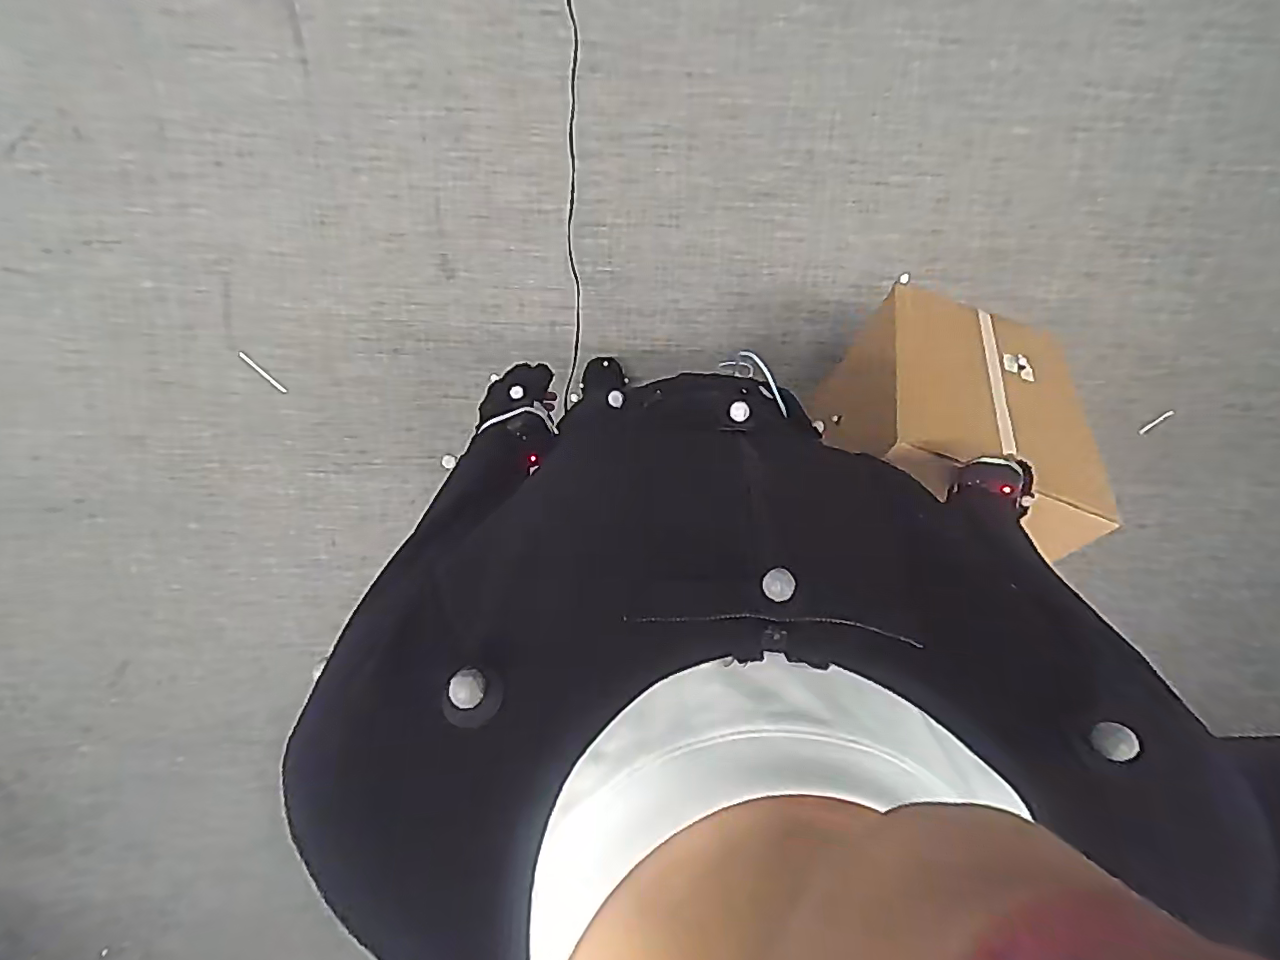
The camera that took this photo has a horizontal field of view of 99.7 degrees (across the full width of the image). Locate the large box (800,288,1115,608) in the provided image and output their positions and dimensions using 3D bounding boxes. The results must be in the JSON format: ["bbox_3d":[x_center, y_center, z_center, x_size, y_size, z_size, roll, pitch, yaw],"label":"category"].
[{"bbox_3d":[0.498,-0.053,0.940,0.320,0.408,0.320,21,142,0],"label":"large box"}]
